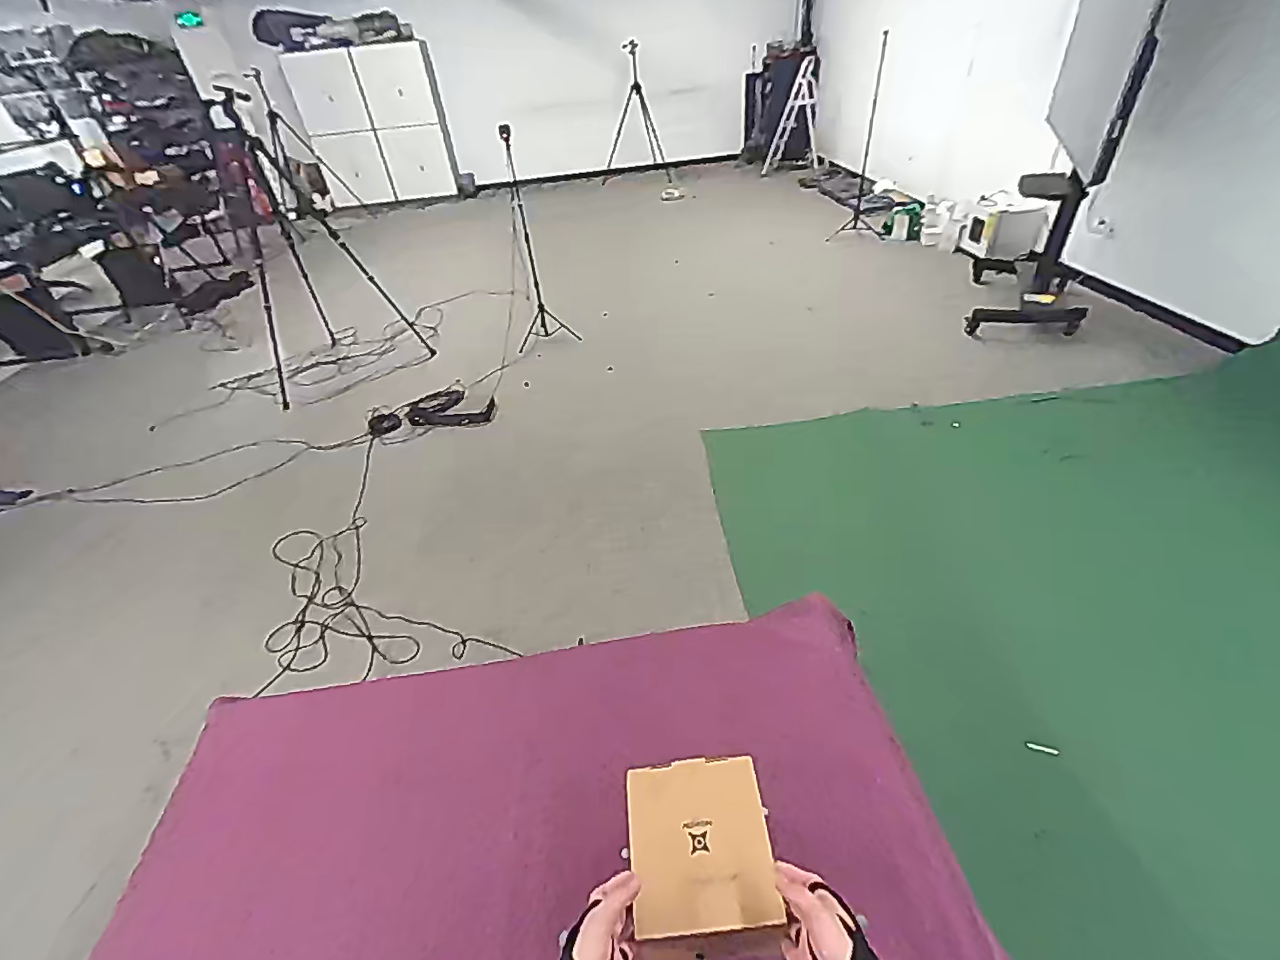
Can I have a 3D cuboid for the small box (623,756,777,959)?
[{"bbox_3d":[0.069,0.482,0.690,0.168,0.176,0.179,-7,41,1],"label":"small box"}]
